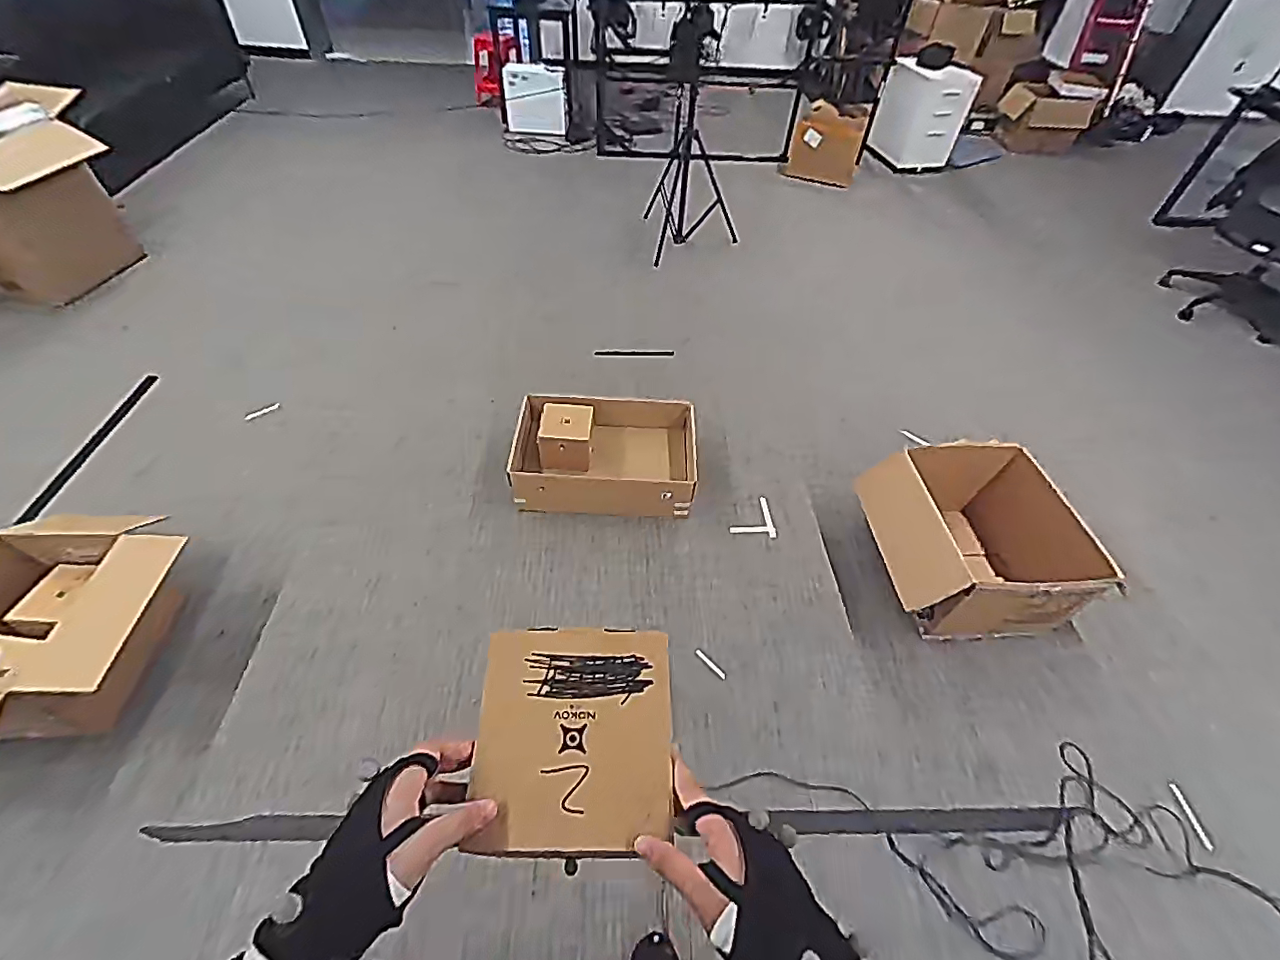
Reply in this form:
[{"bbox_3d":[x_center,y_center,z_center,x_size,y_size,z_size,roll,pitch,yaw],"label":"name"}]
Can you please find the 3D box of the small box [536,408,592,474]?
[{"bbox_3d":[-0.265,-0.137,1.931,0.179,0.176,0.168,4,51,-2],"label":"small box"}]
